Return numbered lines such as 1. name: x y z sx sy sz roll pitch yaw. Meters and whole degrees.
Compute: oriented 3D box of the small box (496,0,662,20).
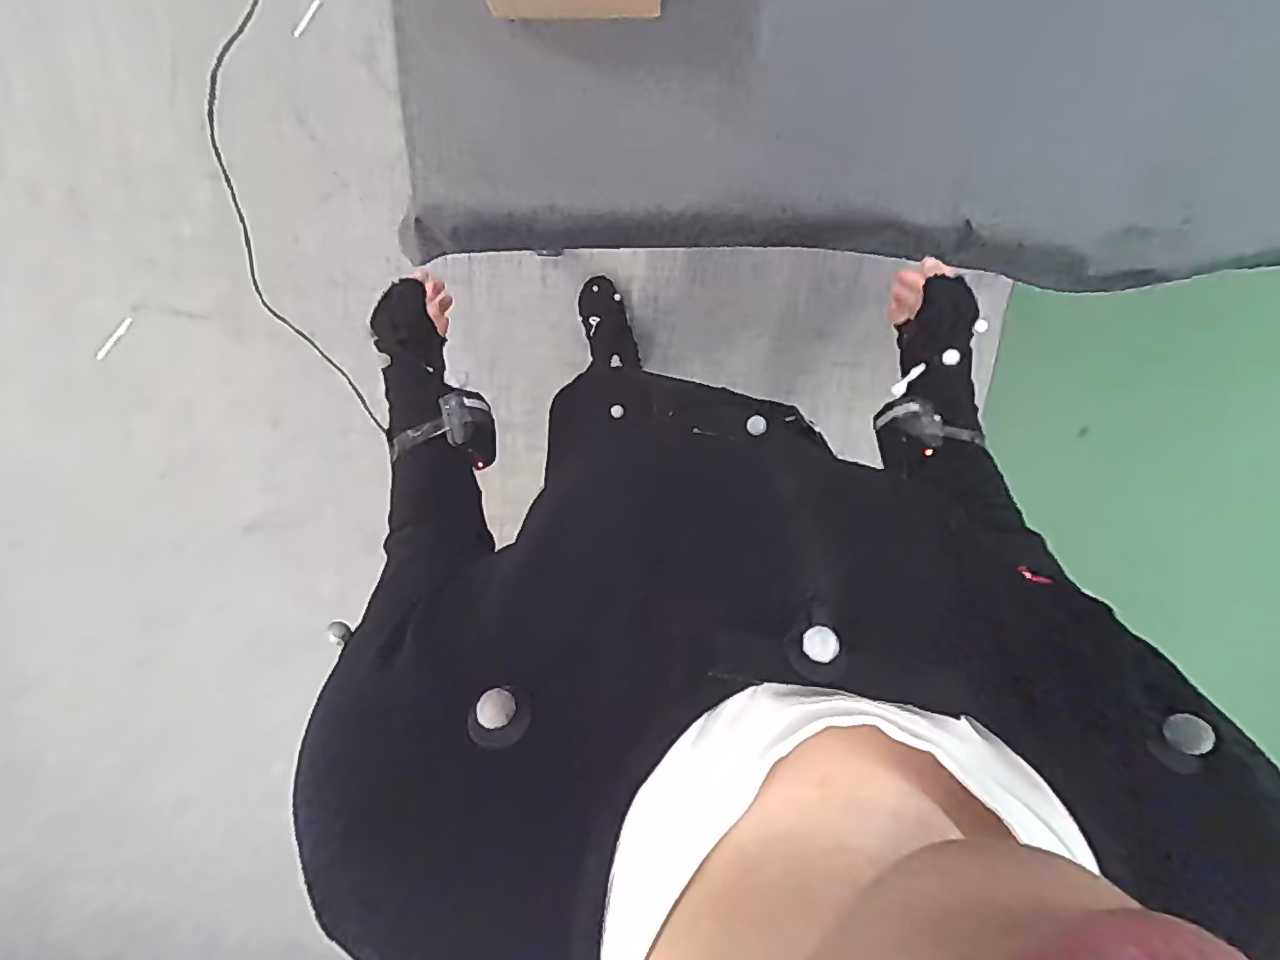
1. small box: -0.063 -0.544 0.475 0.179 0.176 0.168 -1 106 -2
